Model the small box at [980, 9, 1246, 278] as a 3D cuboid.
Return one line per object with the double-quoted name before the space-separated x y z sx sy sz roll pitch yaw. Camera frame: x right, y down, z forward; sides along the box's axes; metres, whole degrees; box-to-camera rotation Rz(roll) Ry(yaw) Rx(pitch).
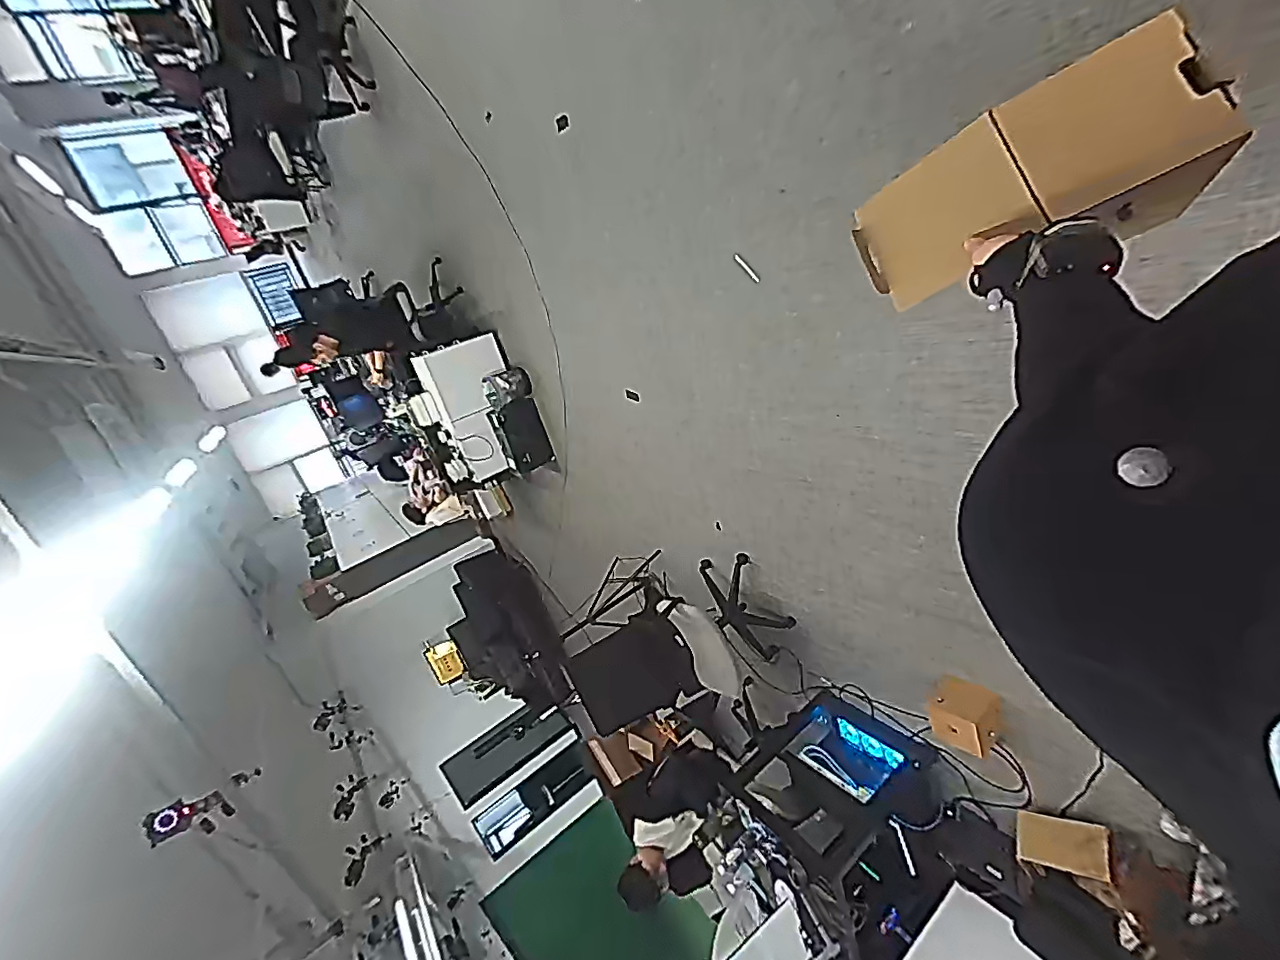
"small box" 0.529 -0.374 0.643 0.179 0.176 0.168 -22 77 24
